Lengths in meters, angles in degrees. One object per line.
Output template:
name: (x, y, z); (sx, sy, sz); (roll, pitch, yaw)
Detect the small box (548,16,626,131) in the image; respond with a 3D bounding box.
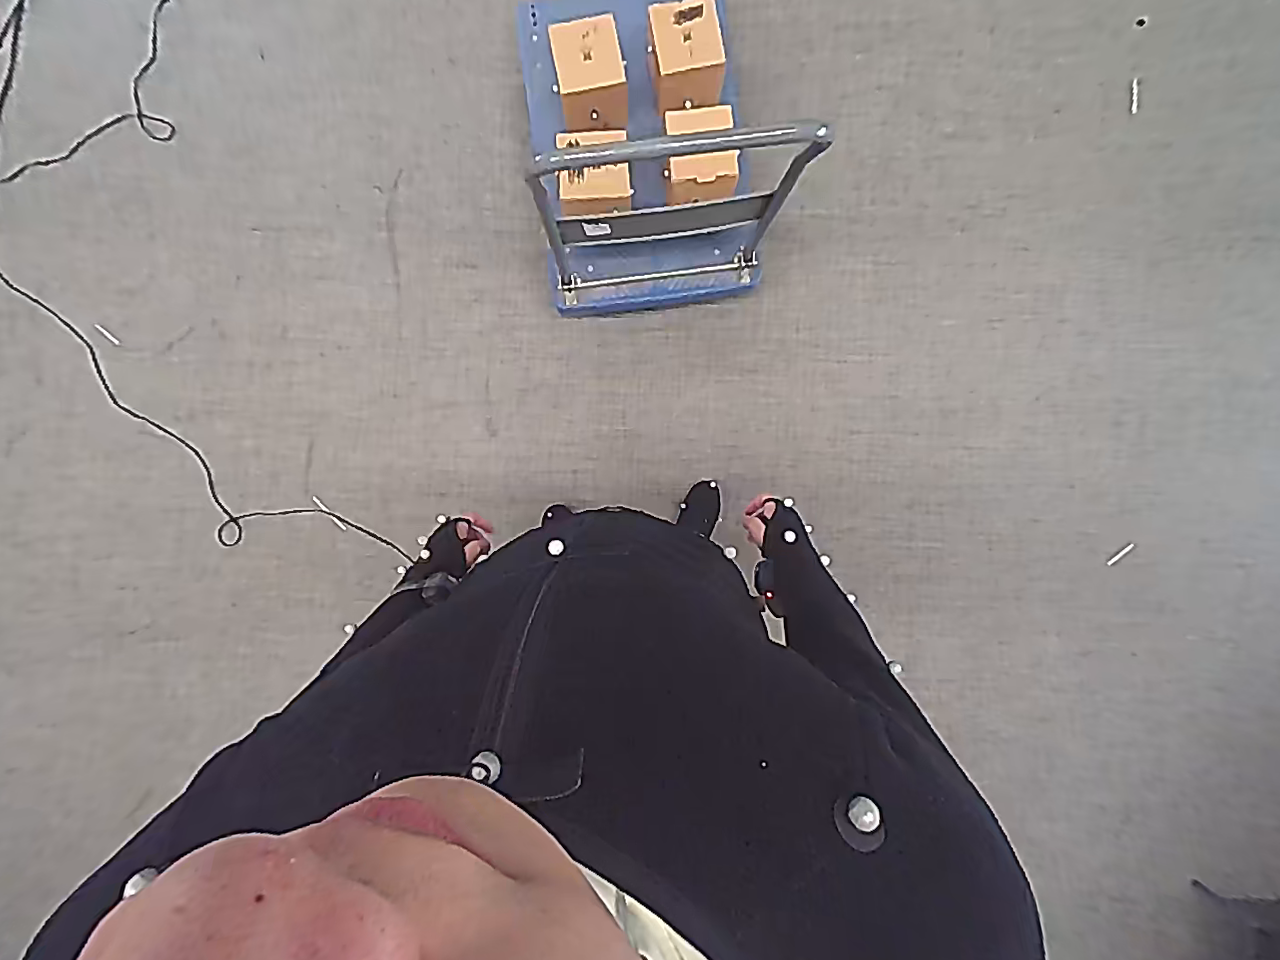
small box: (-0.133, -1.051, 1.418); (0.168, 0.176, 0.179); (-11, 89, -1)

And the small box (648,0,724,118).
small box: (0.114, -1.101, 1.417); (0.168, 0.176, 0.179); (-11, 90, 1)

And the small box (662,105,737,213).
small box: (0.151, -0.833, 1.416); (0.168, 0.176, 0.179); (-7, 90, 0)
